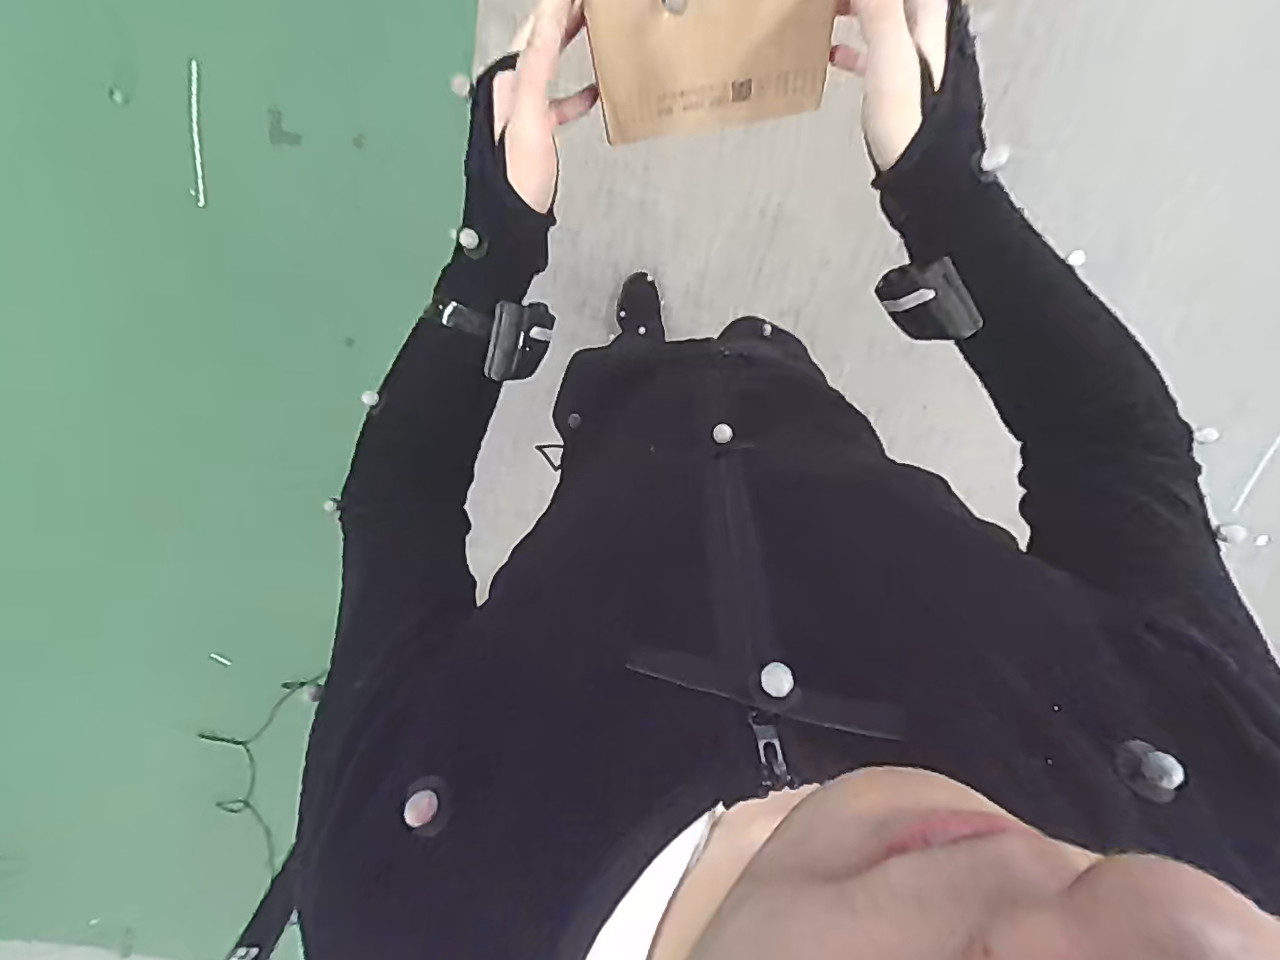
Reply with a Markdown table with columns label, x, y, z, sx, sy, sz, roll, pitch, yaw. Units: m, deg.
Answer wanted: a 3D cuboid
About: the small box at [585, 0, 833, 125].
| label | x | y | z | sx | sy | sz | roll | pitch | yaw |
| --- | --- | --- | --- | --- | --- | --- | --- | --- | --- |
| small box | 0.044 | -0.384 | 0.387 | 0.168 | 0.179 | 0.176 | -6 | 152 | 6 |
